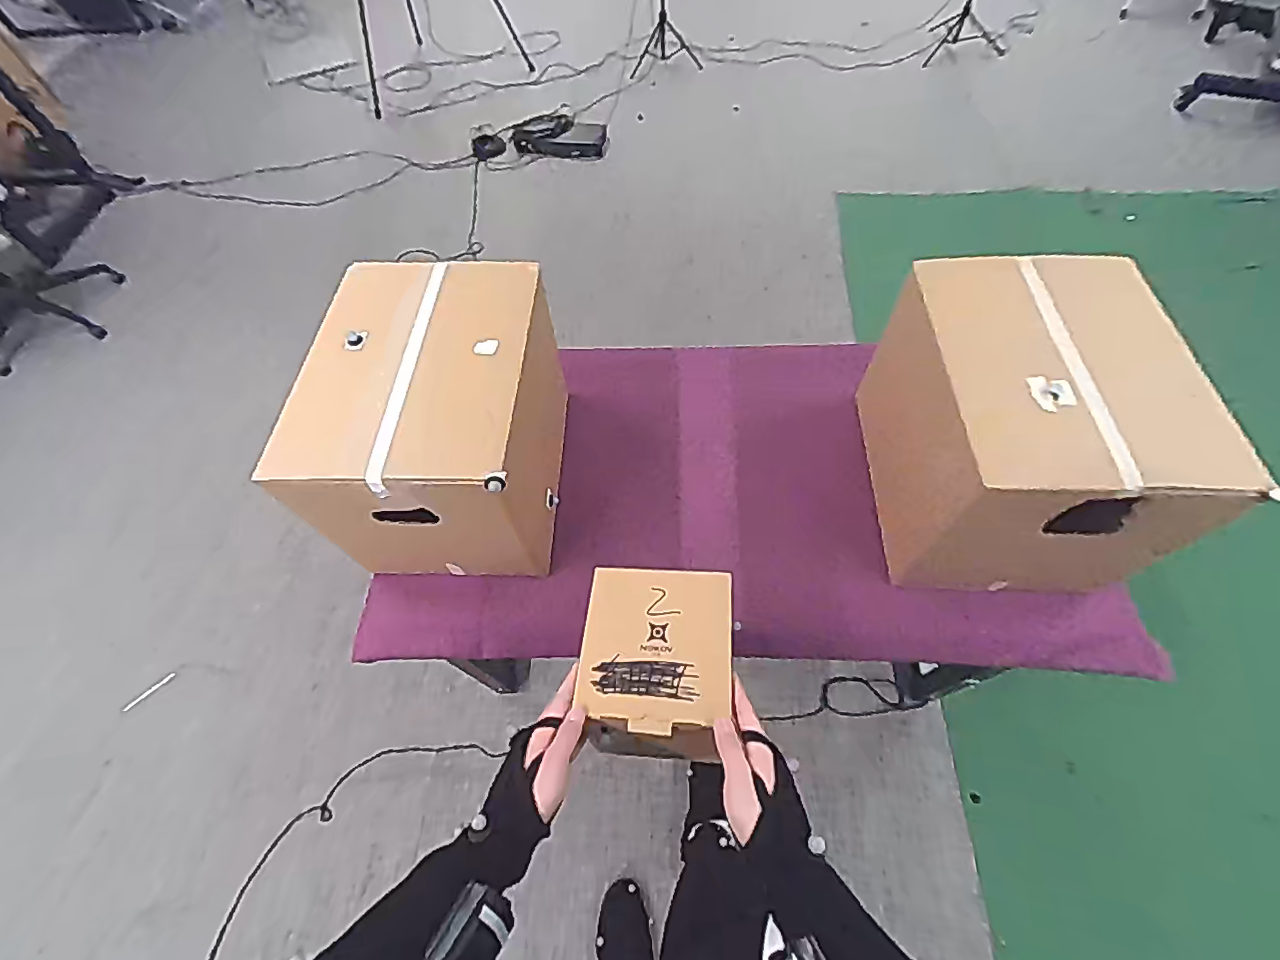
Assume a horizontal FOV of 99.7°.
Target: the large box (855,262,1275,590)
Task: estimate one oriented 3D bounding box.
[{"bbox_3d":[0.559,-0.075,0.829,0.320,0.320,0.408,0,59,4],"label":"large box"}]
